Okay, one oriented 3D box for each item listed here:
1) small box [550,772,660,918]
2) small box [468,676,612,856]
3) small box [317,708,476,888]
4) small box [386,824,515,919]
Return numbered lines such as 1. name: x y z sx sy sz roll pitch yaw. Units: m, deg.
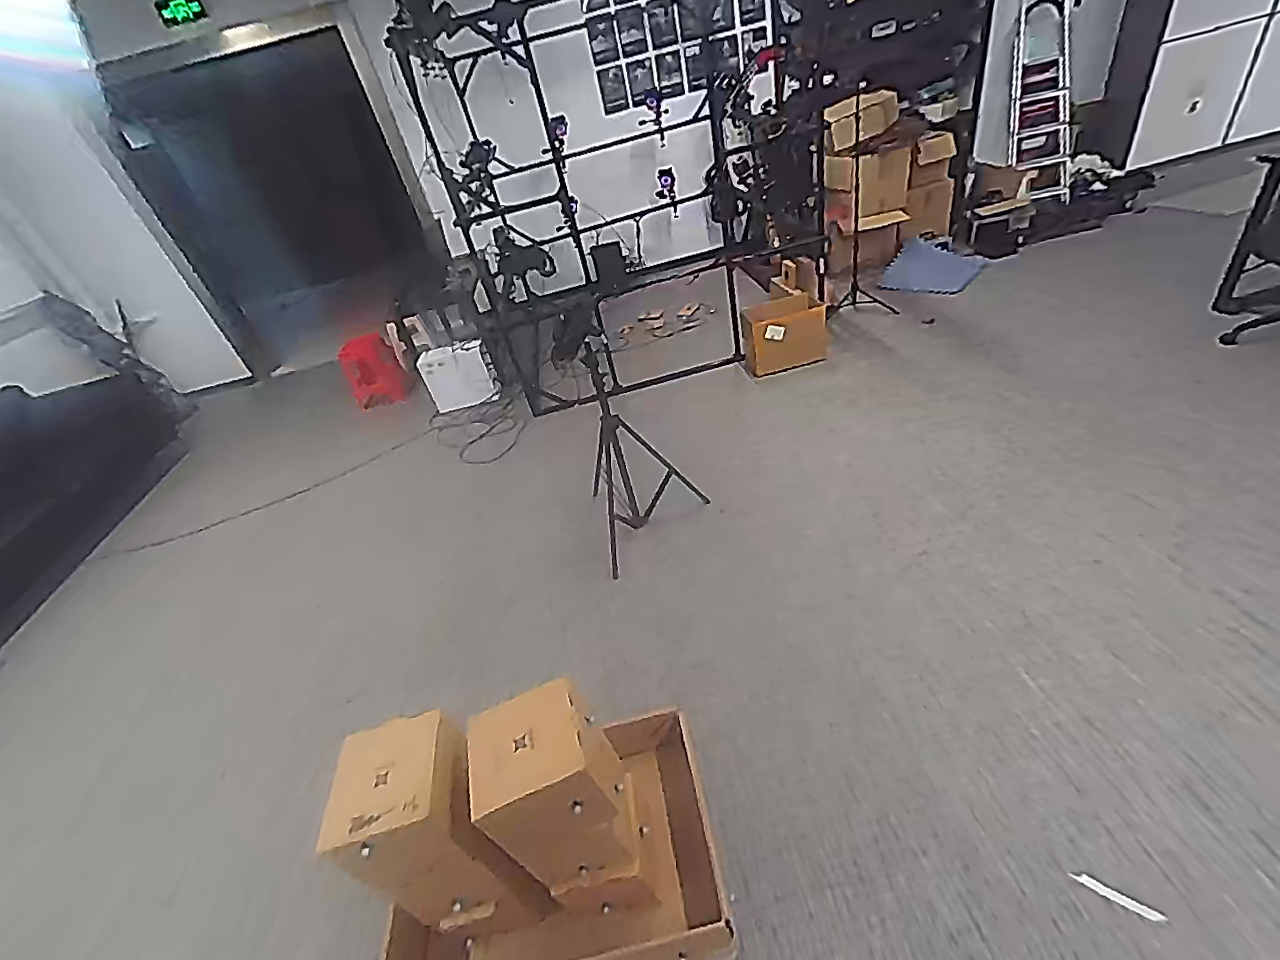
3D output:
1. small box: -0.066 0.710 1.052 0.168 0.176 0.179 -16 36 5
2. small box: -0.155 0.457 0.865 0.179 0.176 0.168 -23 36 -4
3. small box: -0.370 0.509 0.869 0.168 0.176 0.179 -17 35 0
4. small box: -0.328 0.636 0.966 0.168 0.176 0.179 -16 36 -1
